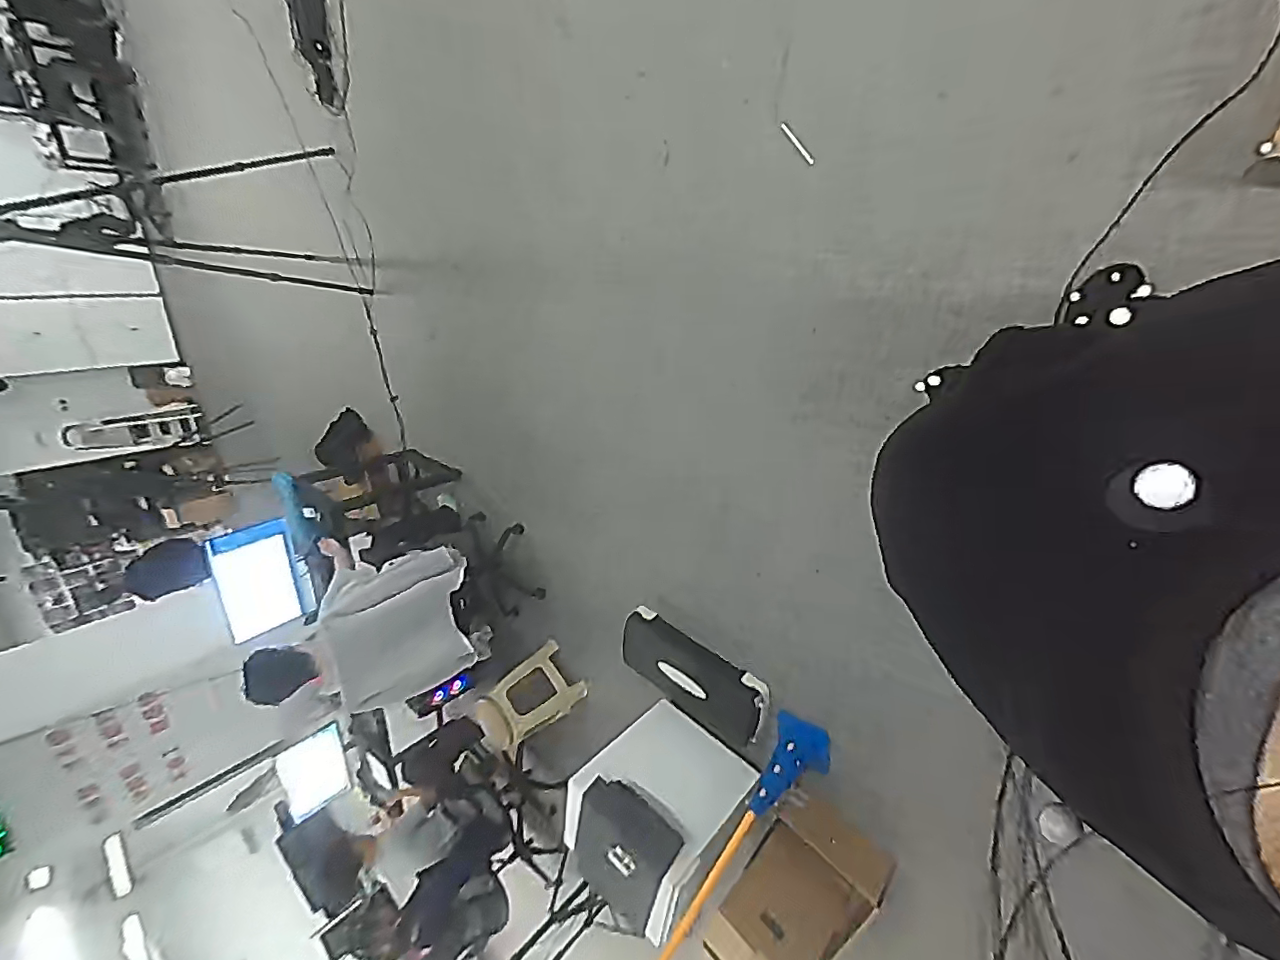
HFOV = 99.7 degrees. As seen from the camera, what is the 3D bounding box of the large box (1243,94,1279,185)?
[{"bbox_3d":[1.136,-0.567,0.691,0.408,0.320,0.320,23,120,37],"label":"large box"}]
